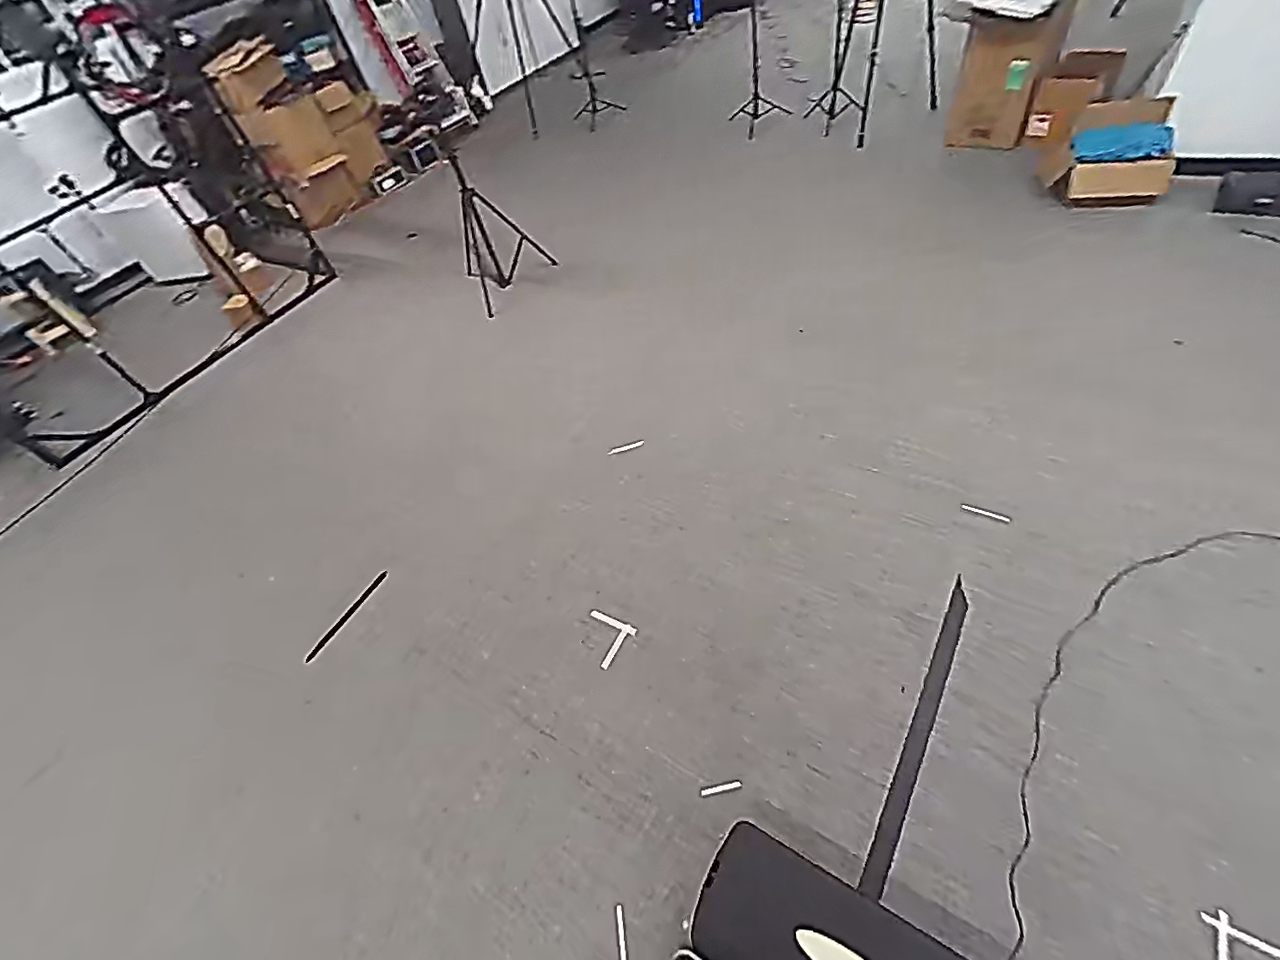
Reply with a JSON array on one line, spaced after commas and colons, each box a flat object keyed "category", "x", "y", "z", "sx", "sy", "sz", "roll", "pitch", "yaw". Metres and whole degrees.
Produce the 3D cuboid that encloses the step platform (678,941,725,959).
[{"category": "step platform", "x": 0.316, "y": 1.185, "z": 0.961, "sx": 0.684, "sy": 0.204, "sz": 0.286, "roll": 18, "pitch": 56, "yaw": 28}]
